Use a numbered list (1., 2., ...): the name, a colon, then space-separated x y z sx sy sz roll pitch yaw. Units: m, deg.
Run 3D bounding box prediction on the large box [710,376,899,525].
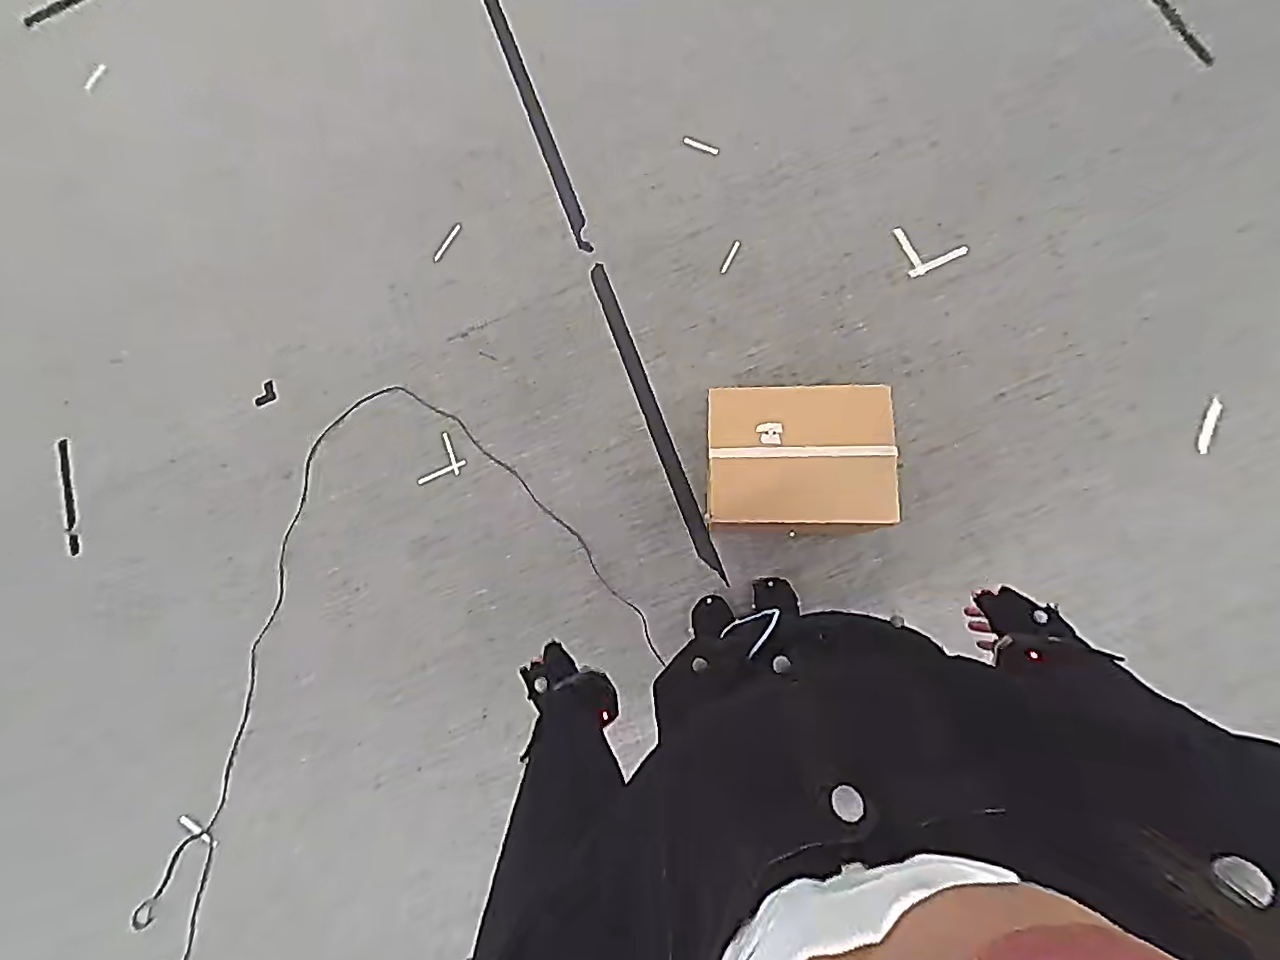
1. large box: 0.384 -0.052 1.355 0.408 0.320 0.320 -1 79 8
